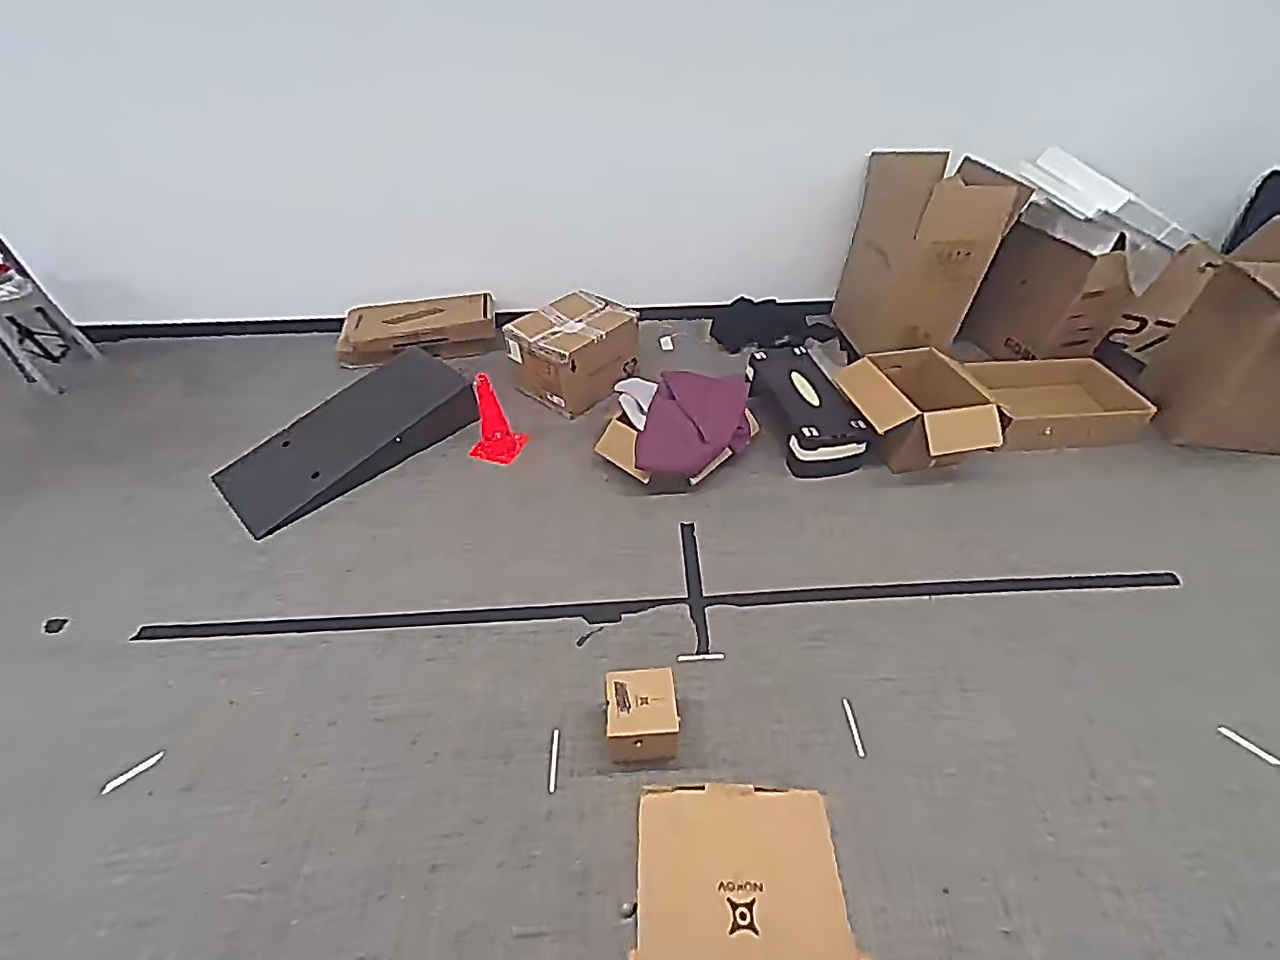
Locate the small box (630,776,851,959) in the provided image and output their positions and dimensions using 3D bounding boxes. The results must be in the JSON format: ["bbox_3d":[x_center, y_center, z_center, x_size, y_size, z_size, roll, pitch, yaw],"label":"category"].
[{"bbox_3d":[0.076,0.391,0.487,0.168,0.176,0.179,1,44,0],"label":"small box"}]

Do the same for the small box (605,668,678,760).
[{"bbox_3d":[0.003,0.610,1.404,0.179,0.176,0.168,-3,44,-2],"label":"small box"}]
